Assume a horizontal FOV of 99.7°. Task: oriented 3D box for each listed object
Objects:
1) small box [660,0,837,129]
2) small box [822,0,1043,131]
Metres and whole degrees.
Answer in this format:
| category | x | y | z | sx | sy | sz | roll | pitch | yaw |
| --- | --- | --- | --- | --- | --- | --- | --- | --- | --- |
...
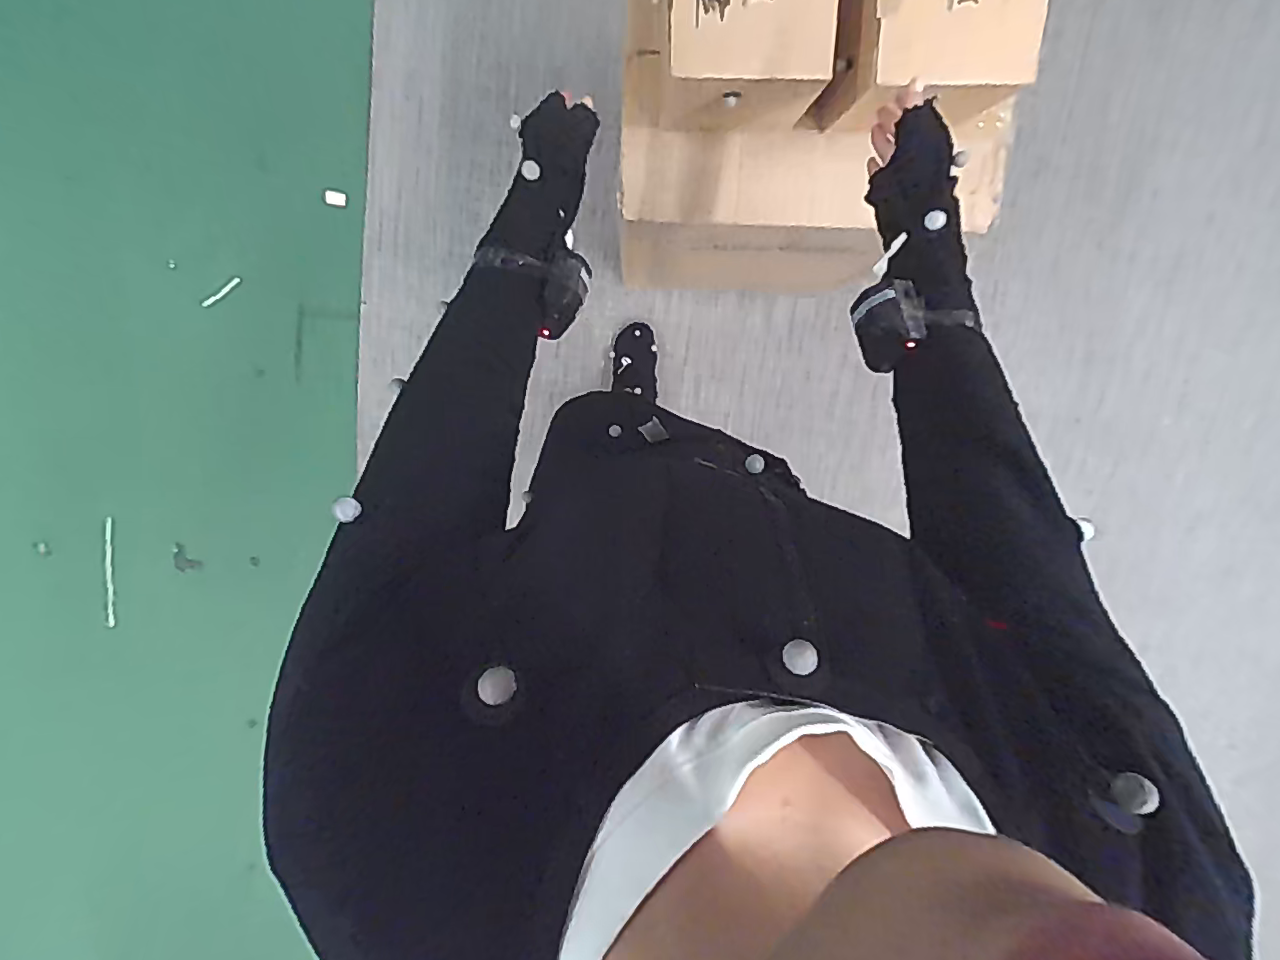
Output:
| category | x | y | z | sx | sy | sz | roll | pitch | yaw |
| --- | --- | --- | --- | --- | --- | --- | --- | --- | --- |
| small box | 0.115 | -0.527 | 0.627 | 0.179 | 0.176 | 0.168 | 0 | 107 | -2 |
| small box | 0.329 | -0.527 | 0.633 | 0.179 | 0.176 | 0.168 | -2 | 108 | -2 |
